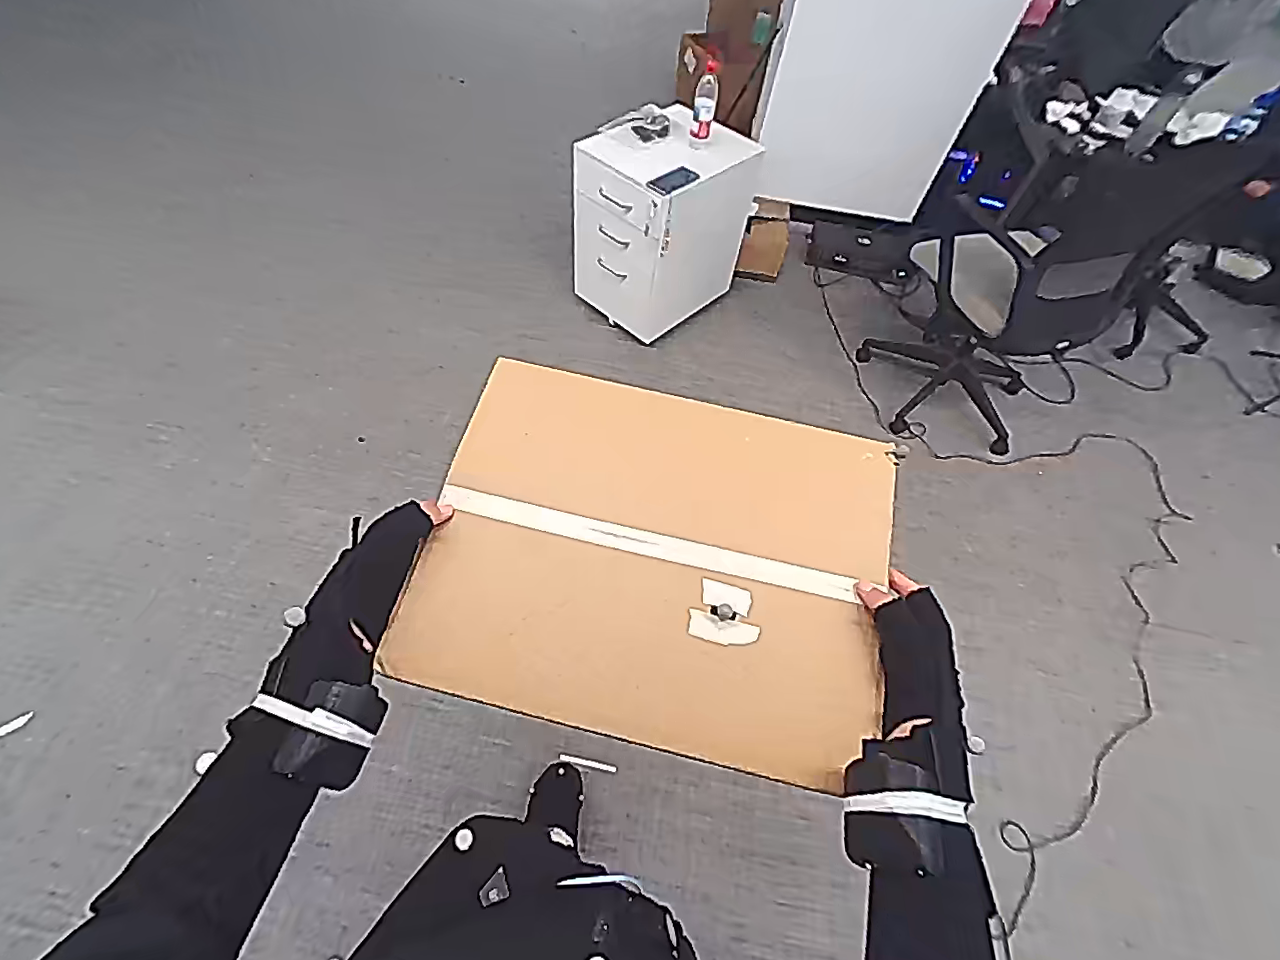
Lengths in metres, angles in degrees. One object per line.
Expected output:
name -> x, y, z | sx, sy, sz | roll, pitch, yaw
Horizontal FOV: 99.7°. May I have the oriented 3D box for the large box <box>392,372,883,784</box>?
large box -> 0.010, 0.122, 0.627 | 0.408, 0.320, 0.320 | 13, 68, 2
